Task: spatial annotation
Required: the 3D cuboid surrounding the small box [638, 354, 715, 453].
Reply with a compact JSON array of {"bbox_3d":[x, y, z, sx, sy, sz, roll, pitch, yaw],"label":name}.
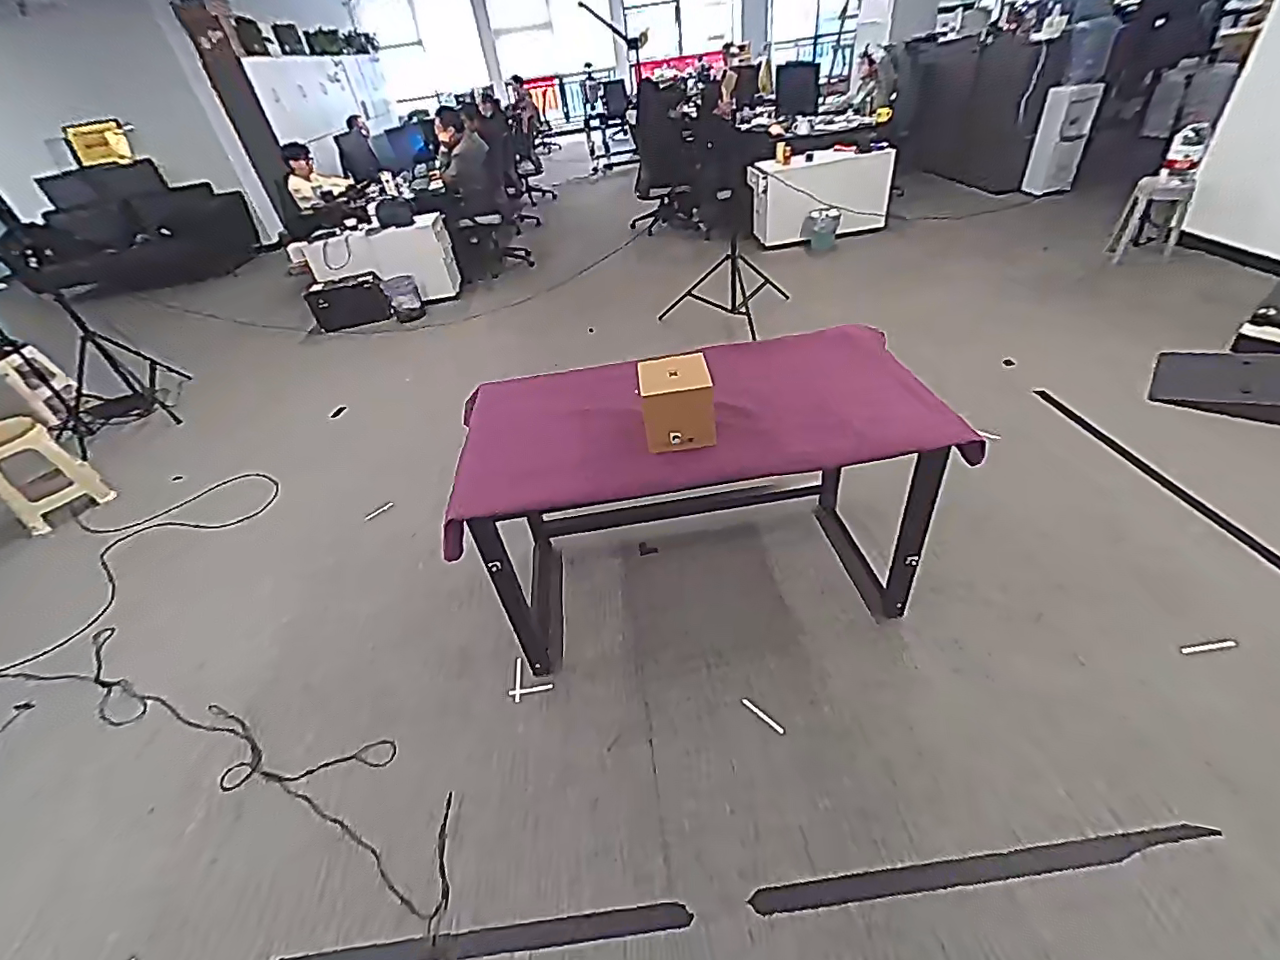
[{"bbox_3d":[0.089,-0.188,1.328,0.168,0.176,0.179,-8,39,2],"label":"small box"}]
